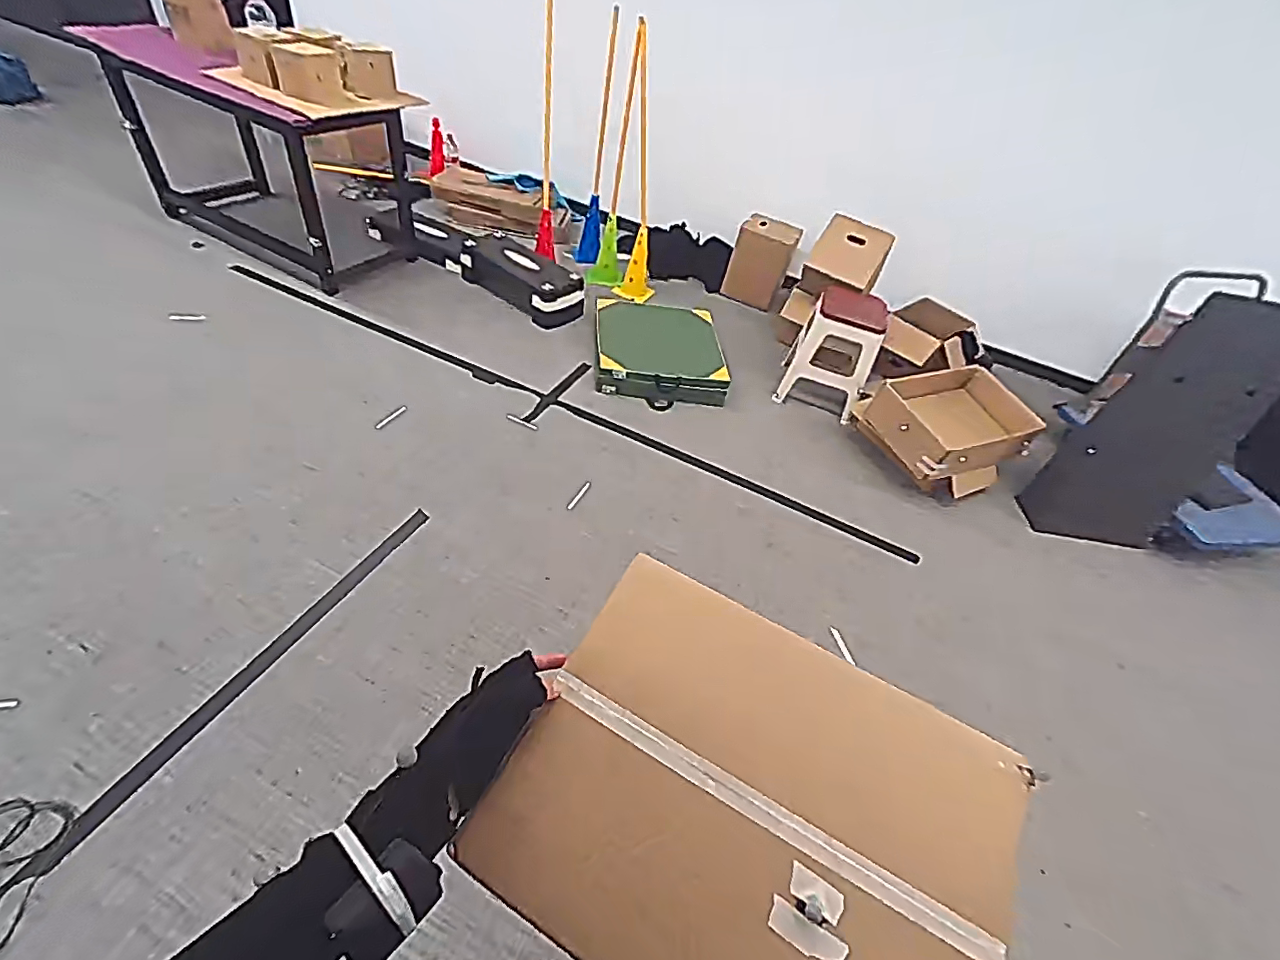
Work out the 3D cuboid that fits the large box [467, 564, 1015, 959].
[{"bbox_3d":[0.093,0.363,0.593,0.408,0.320,0.320,27,60,15],"label":"large box"}]
